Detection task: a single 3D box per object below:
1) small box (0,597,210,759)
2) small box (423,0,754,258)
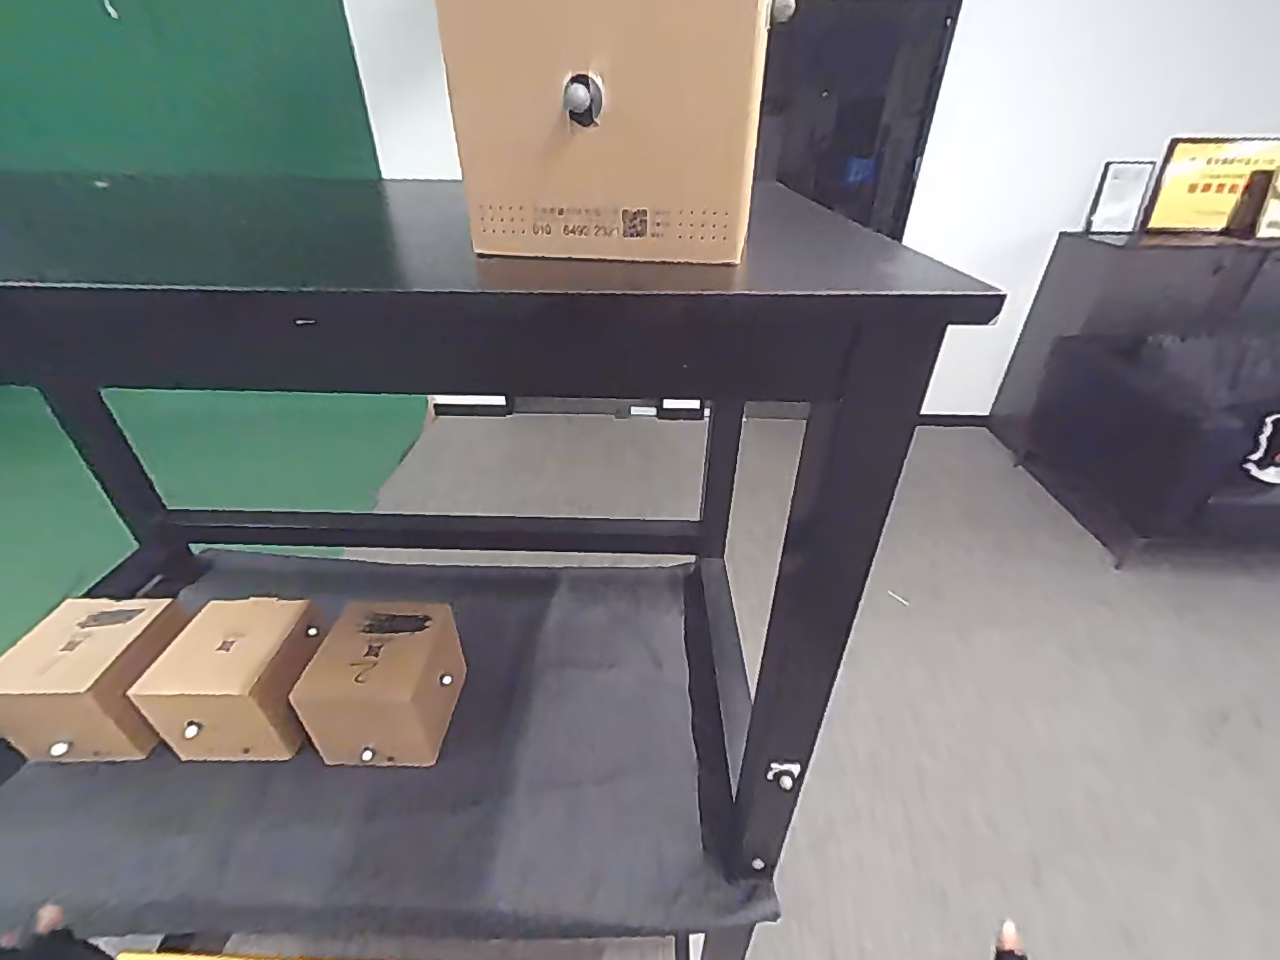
[{"bbox_3d":[-0.821,0.303,0.841,0.168,0.176,0.179,0,34,-1],"label":"small box"},{"bbox_3d":[-0.016,-0.248,0.351,0.168,0.176,0.179,7,33,10],"label":"small box"}]
